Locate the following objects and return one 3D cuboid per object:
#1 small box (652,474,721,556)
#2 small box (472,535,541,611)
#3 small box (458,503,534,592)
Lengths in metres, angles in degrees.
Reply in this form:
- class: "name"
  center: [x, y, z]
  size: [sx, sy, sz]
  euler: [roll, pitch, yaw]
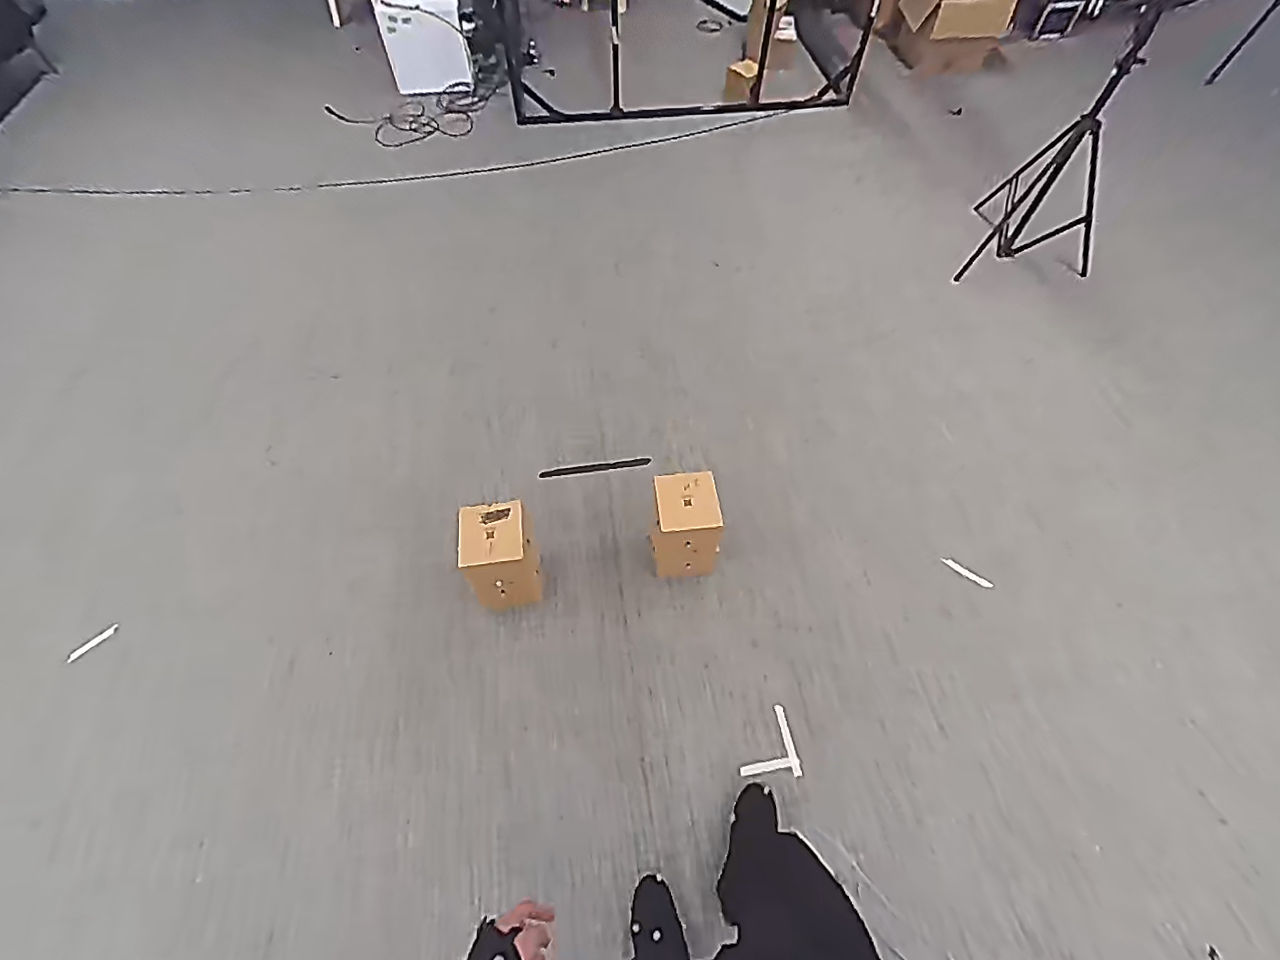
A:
- class: "small box"
  center: [0.125, 0.105, 1.516]
  size: [0.168, 0.176, 0.179]
  euler: [-5, 58, -4]
- class: "small box"
  center: [-0.390, 0.274, 1.601]
  size: [0.179, 0.176, 0.168]
  euler: [-8, 59, -4]
- class: "small box"
  center: [-0.385, 0.184, 1.464]
  size: [0.168, 0.176, 0.179]
  euler: [-8, 59, -4]
